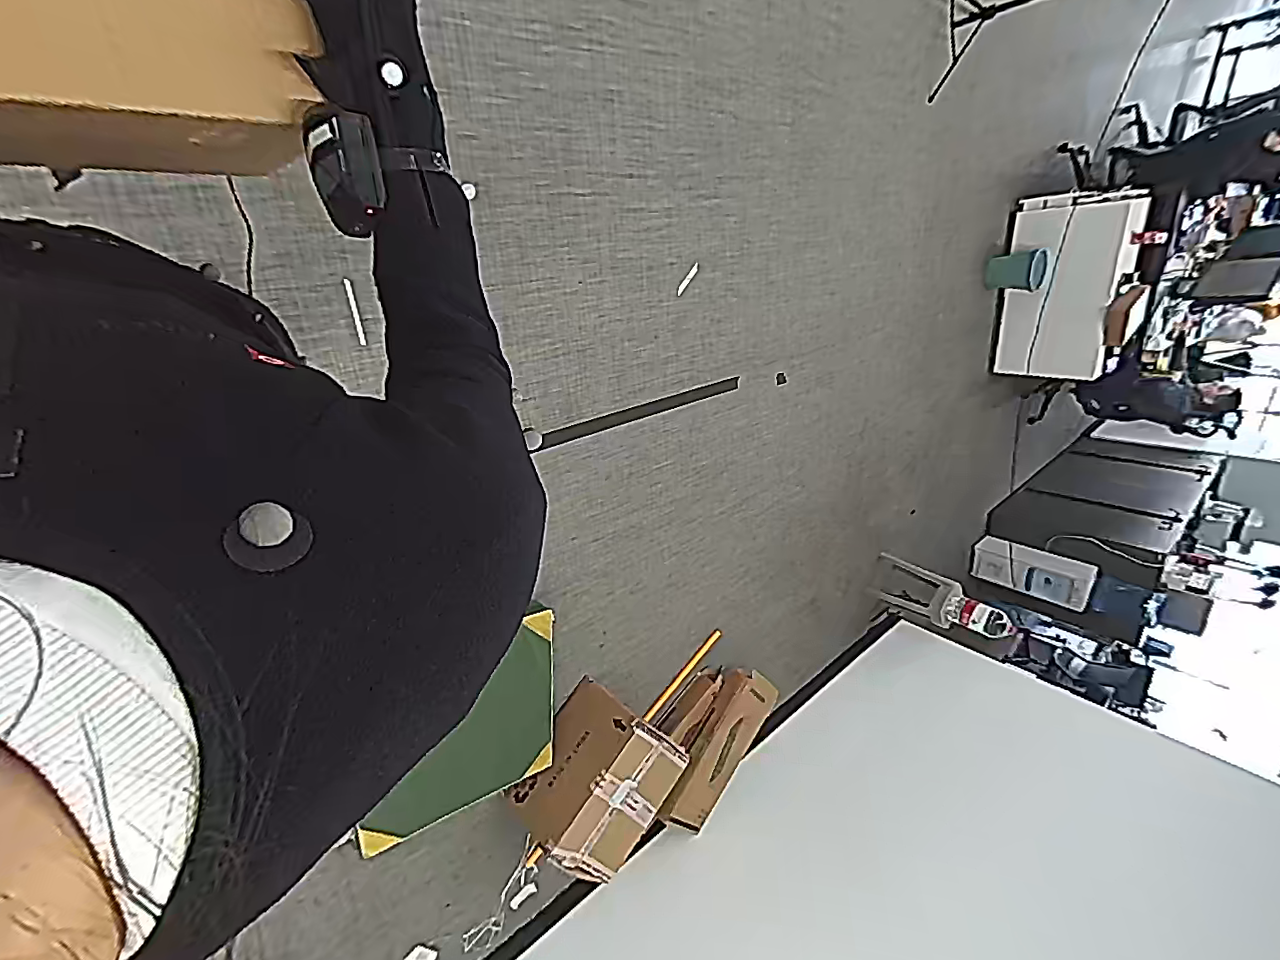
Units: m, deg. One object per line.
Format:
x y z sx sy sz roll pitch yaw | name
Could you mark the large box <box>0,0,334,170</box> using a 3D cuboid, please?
-0.468 -0.374 0.308 0.408 0.320 0.320 -21 121 -36 | large box
